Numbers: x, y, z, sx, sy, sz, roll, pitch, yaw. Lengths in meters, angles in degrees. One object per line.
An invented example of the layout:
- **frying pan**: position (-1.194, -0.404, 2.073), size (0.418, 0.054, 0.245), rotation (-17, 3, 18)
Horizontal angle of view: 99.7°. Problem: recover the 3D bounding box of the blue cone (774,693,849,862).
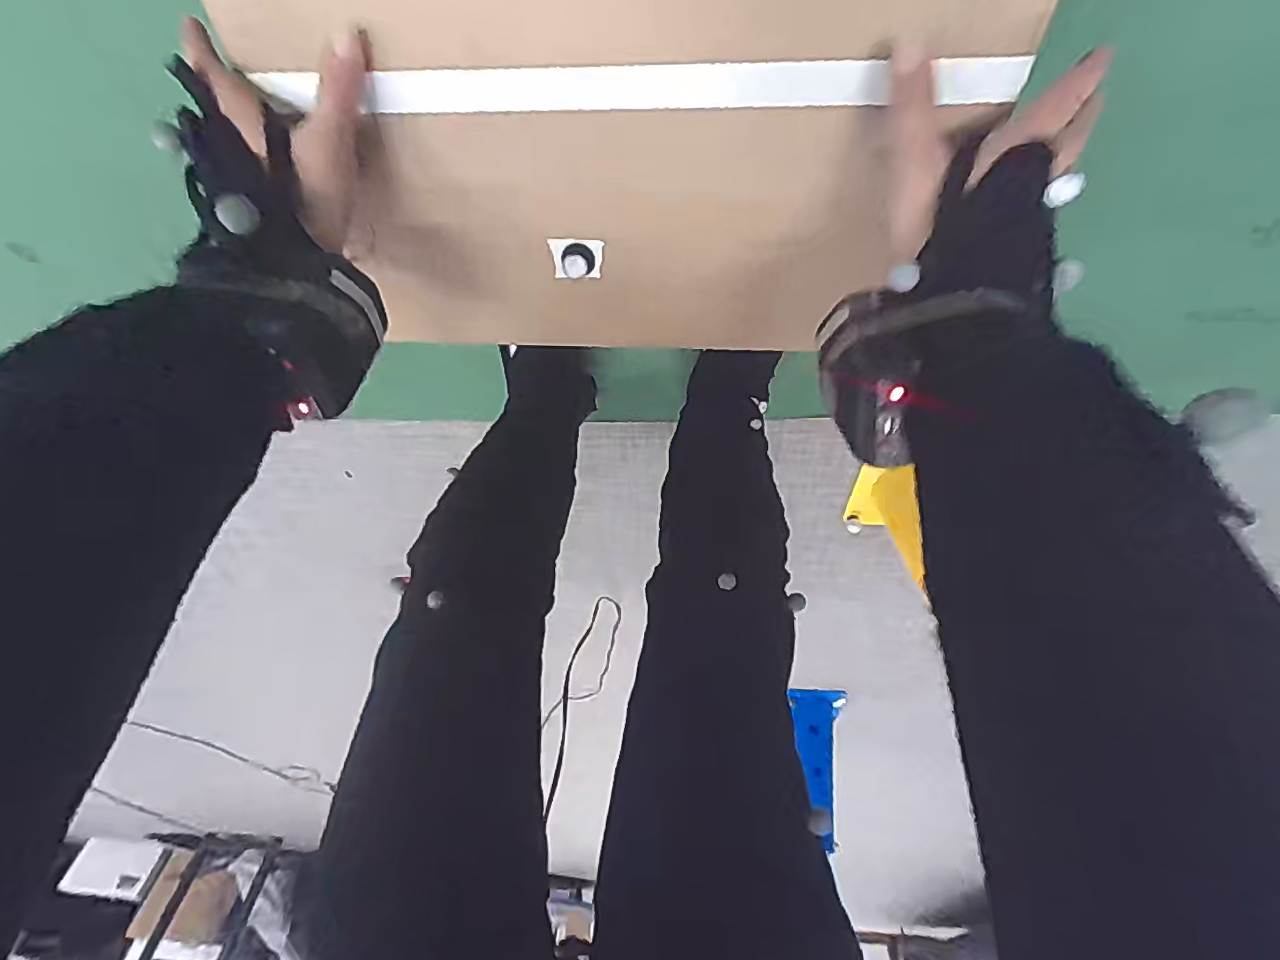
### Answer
- **blue cone**: position (0.463, 0.754, 1.392), size (0.192, 0.380, 0.193), rotation (0, 135, 6)
